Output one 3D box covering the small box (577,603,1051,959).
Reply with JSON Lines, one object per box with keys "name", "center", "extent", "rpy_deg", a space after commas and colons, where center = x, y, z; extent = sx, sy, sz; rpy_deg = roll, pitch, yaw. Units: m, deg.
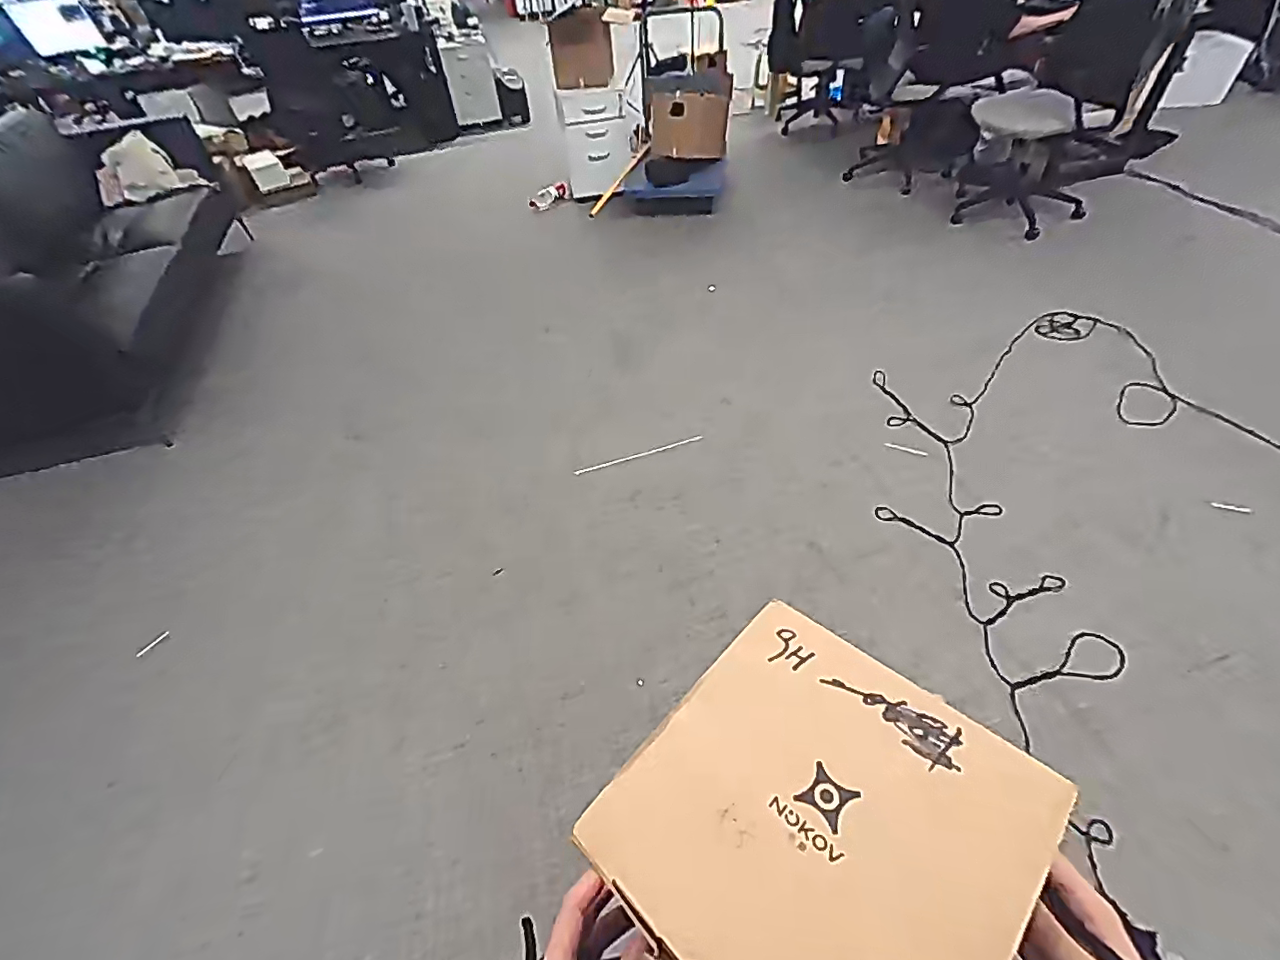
{"name": "small box", "center": [0.095, 0.218, 0.322], "extent": [0.168, 0.176, 0.179], "rpy_deg": [30, 57, 36]}
